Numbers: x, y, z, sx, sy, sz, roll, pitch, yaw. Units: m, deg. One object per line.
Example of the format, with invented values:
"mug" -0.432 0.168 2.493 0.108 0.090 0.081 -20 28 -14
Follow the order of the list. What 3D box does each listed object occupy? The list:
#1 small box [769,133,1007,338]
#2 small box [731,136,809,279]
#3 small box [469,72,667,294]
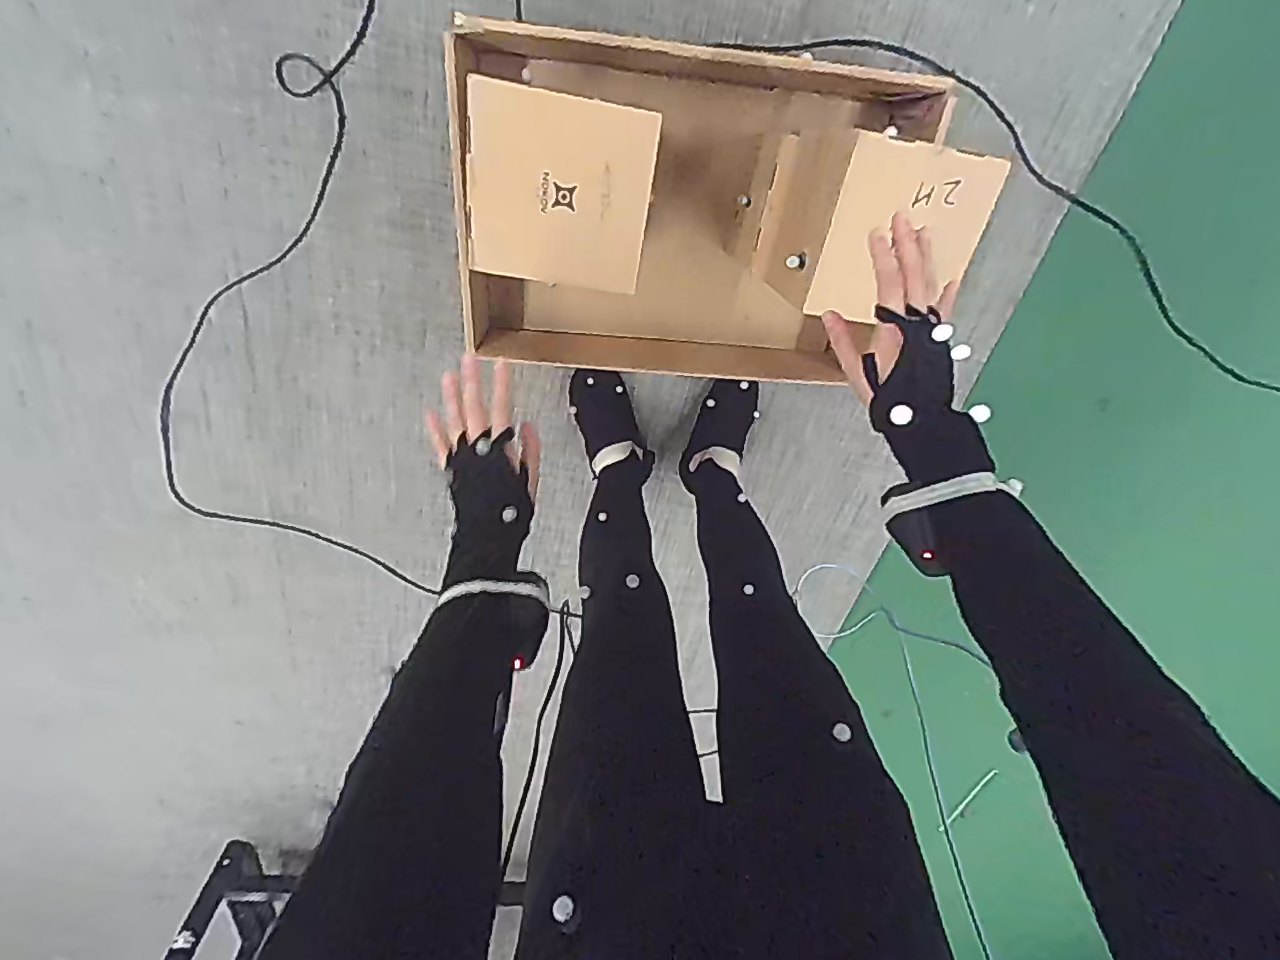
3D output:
"small box" 0.266 -0.287 0.634 0.168 0.176 0.179 6 120 -9
"small box" 0.241 -0.375 0.772 0.179 0.176 0.168 7 121 -8
"small box" -0.080 -0.319 0.591 0.179 0.176 0.168 6 122 -10
